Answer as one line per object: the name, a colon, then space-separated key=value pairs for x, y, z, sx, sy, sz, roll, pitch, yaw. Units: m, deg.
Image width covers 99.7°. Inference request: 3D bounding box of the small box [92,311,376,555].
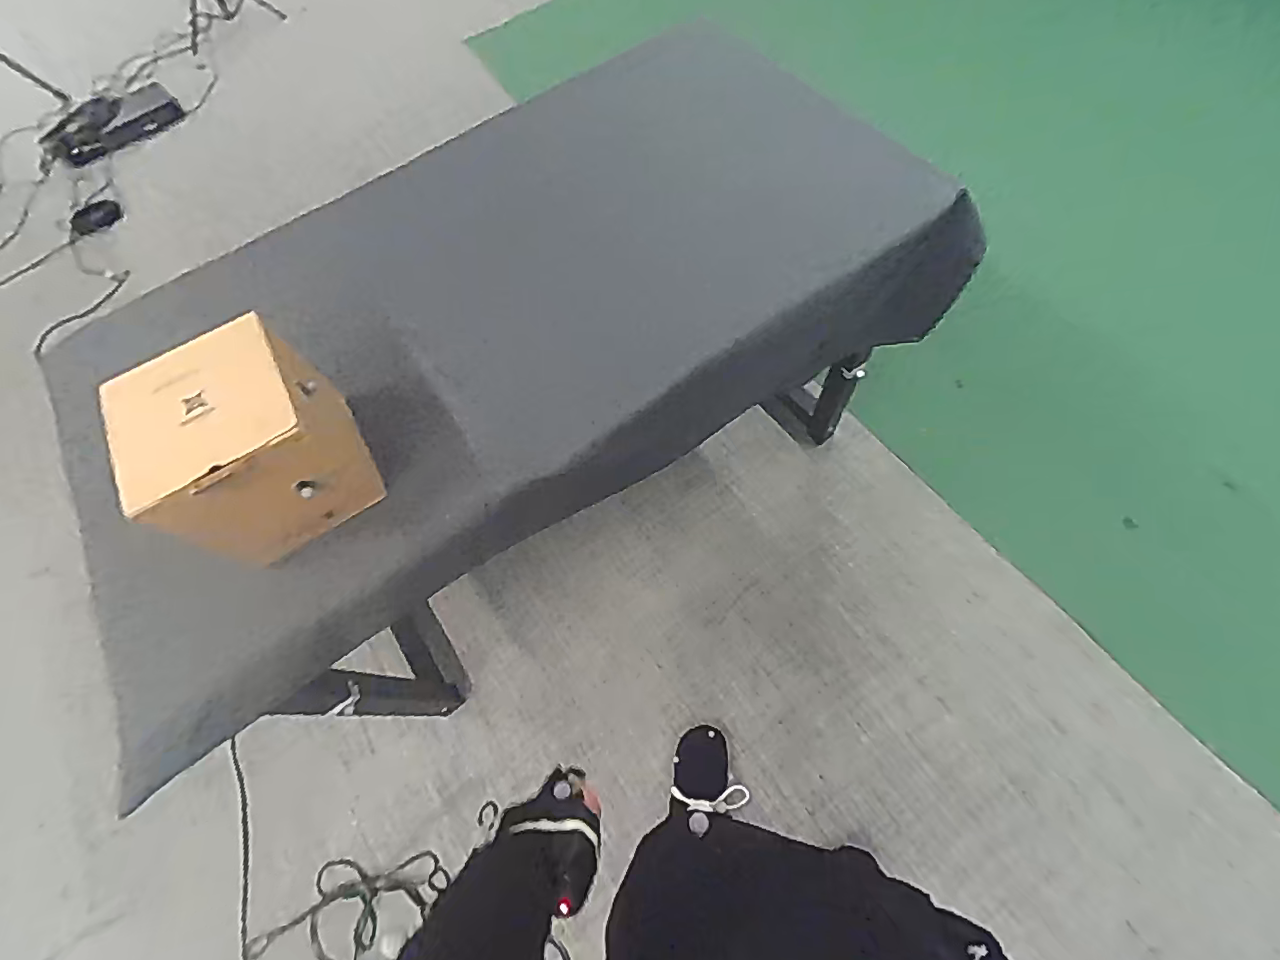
small box: x=-0.423 y=-0.038 z=0.586 sx=0.168 sy=0.176 sz=0.179 roll=-31 pitch=65 yaw=-10
